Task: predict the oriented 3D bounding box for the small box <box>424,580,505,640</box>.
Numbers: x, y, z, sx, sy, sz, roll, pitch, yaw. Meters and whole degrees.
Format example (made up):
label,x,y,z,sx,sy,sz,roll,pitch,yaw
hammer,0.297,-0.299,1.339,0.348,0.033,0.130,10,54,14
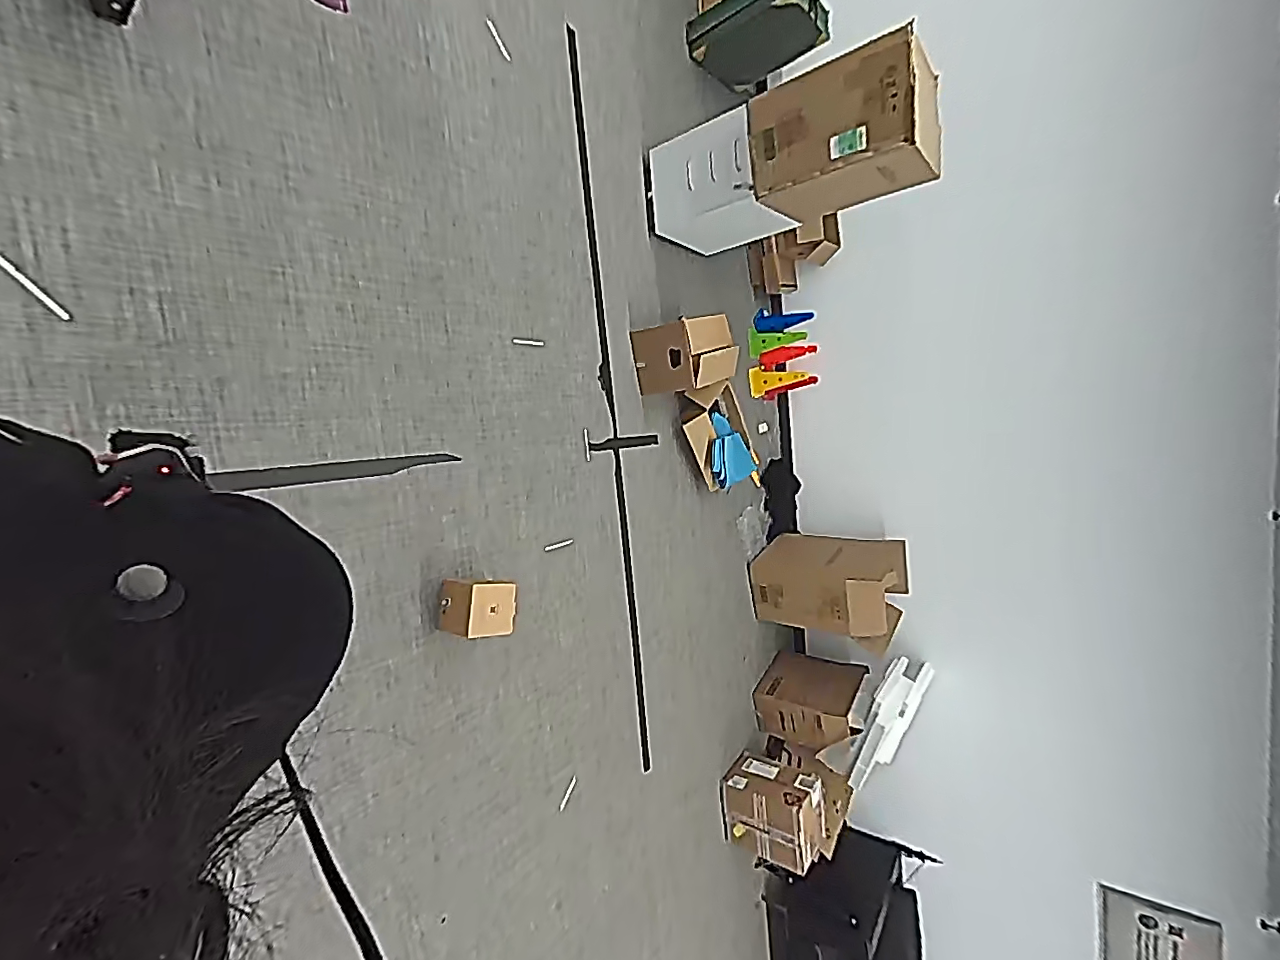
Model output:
label,x,y,z,sx,sy,sz,roll,pitch,yaw
small box,-0.565,0.414,1.747,0.179,0.176,0.168,14,77,-52
